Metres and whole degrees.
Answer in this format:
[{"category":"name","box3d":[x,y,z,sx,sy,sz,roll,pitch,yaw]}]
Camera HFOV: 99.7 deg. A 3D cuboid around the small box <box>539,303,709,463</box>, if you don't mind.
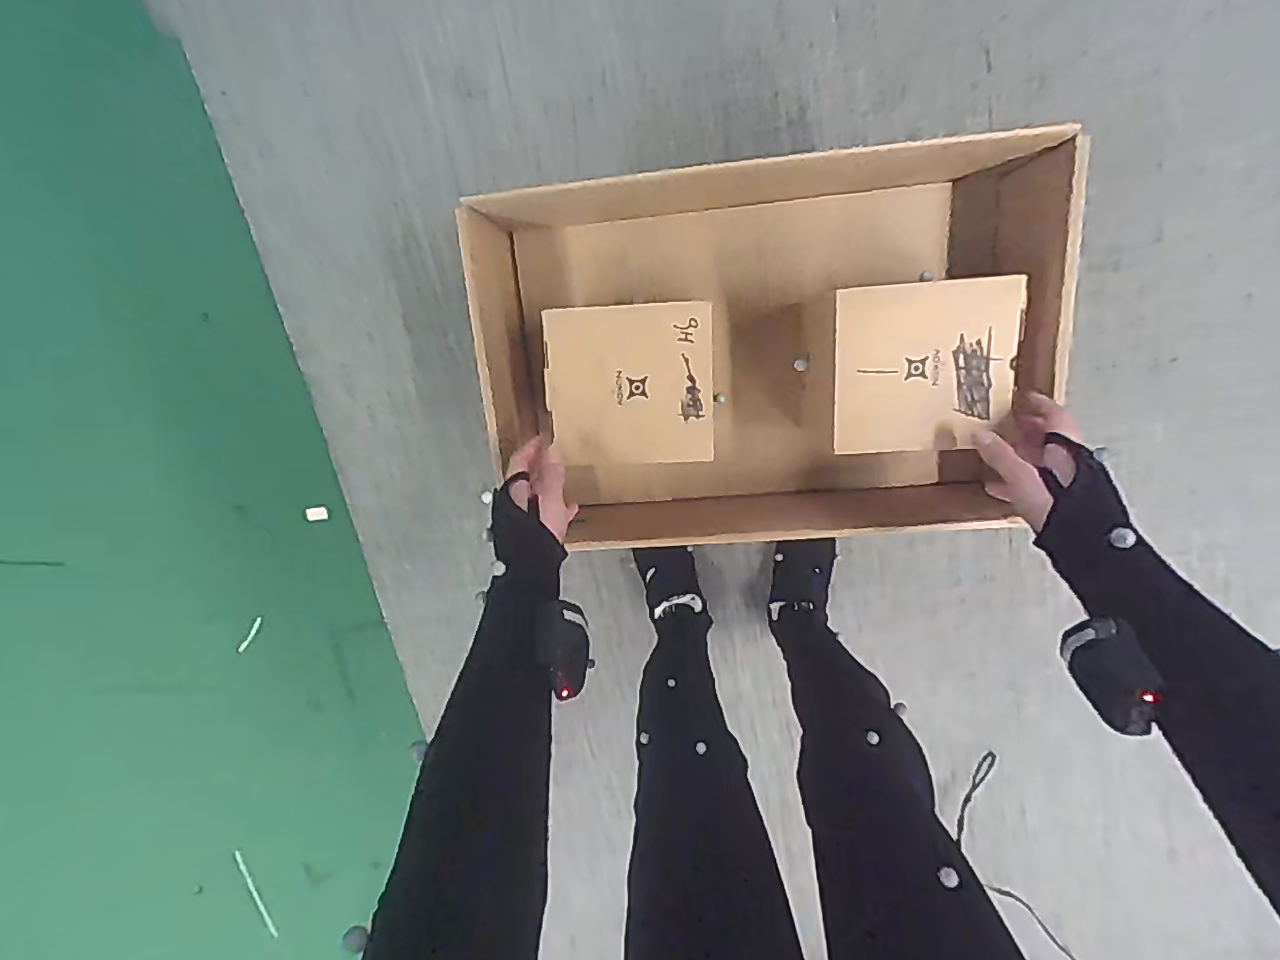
[{"category":"small box","box3d":[-0.007,-0.115,0.643,0.179,0.176,0.168,-1,104,7]}]
